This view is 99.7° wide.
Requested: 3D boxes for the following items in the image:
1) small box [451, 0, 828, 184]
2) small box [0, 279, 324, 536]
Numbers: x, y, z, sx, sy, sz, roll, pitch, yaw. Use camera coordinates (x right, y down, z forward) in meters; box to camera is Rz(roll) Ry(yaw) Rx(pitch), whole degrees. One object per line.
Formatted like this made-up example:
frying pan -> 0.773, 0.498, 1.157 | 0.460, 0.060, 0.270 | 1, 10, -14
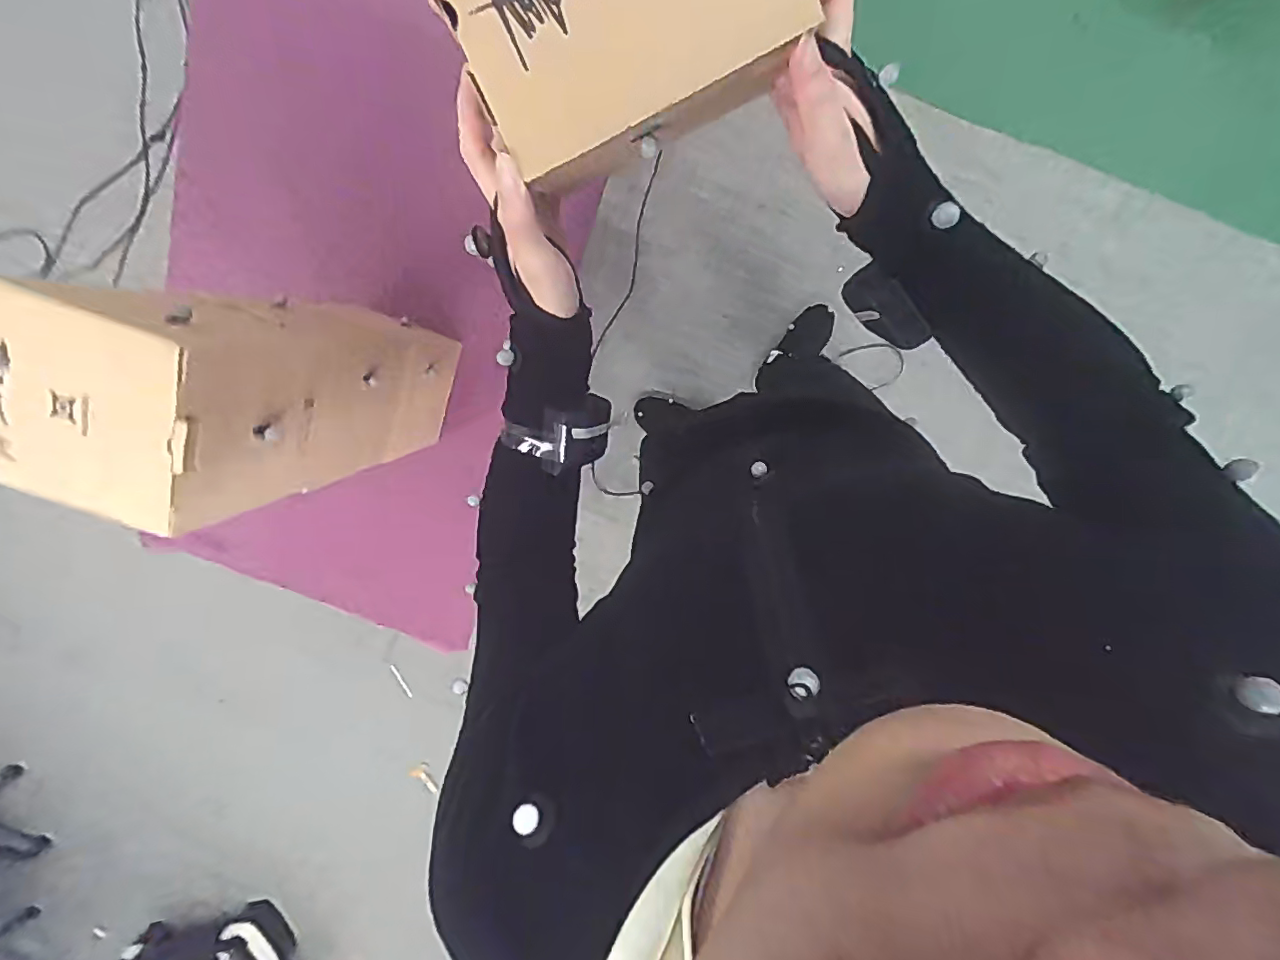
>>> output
small box -> -0.012, -0.303, 0.329 | 0.179, 0.176, 0.168 | -21, 112, 11
small box -> -0.434, -0.074, 0.504 | 0.179, 0.176, 0.168 | 19, 105, 0
